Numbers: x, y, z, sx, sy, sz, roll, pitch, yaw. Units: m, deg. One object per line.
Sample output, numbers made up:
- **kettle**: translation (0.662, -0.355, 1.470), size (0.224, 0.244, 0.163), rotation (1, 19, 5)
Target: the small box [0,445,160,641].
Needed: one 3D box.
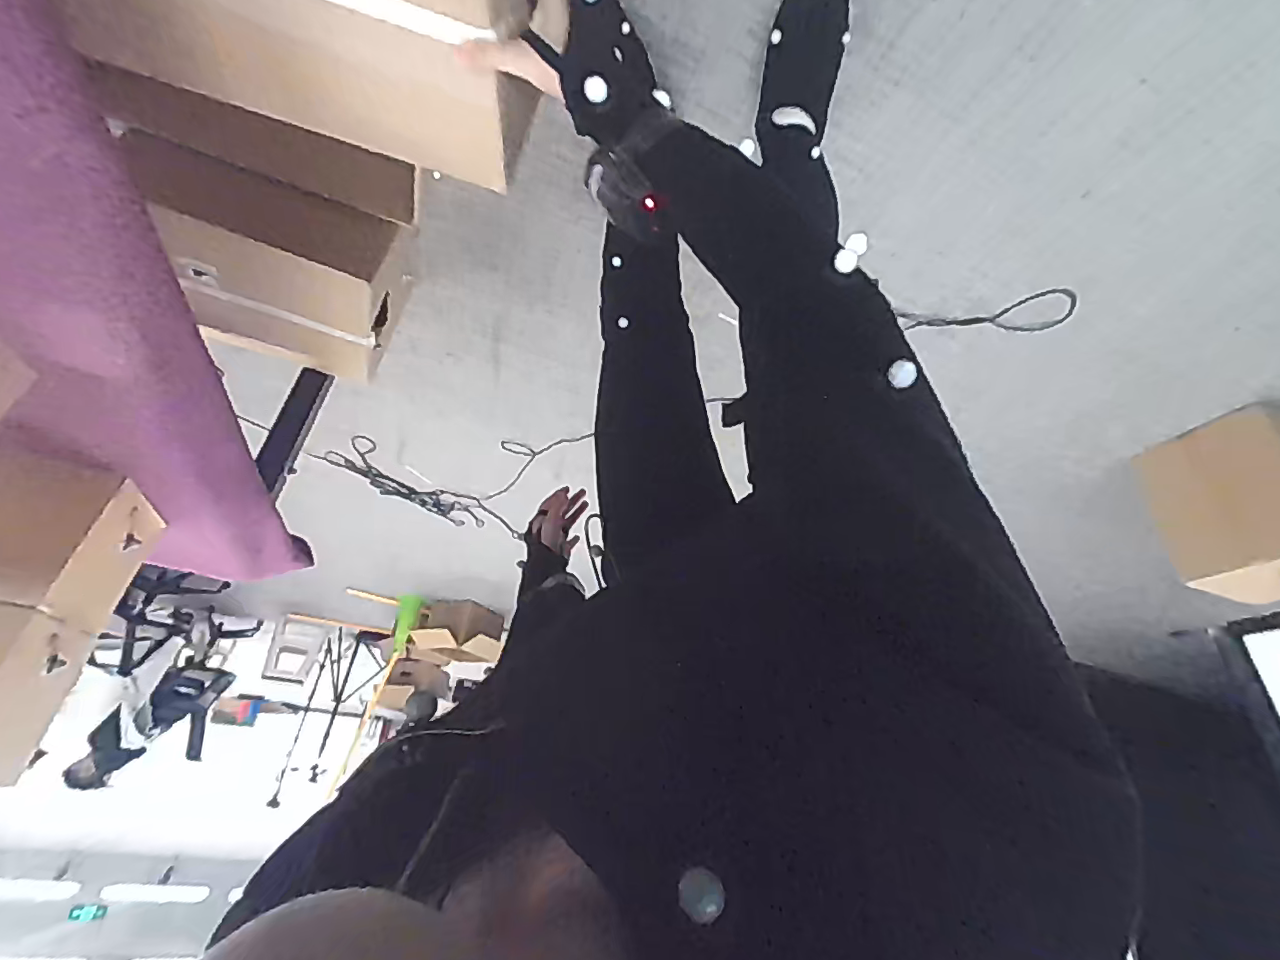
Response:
- **small box**: translation (-0.724, 0.072, 0.630), size (0.179, 0.176, 0.168), rotation (17, 147, -19)
